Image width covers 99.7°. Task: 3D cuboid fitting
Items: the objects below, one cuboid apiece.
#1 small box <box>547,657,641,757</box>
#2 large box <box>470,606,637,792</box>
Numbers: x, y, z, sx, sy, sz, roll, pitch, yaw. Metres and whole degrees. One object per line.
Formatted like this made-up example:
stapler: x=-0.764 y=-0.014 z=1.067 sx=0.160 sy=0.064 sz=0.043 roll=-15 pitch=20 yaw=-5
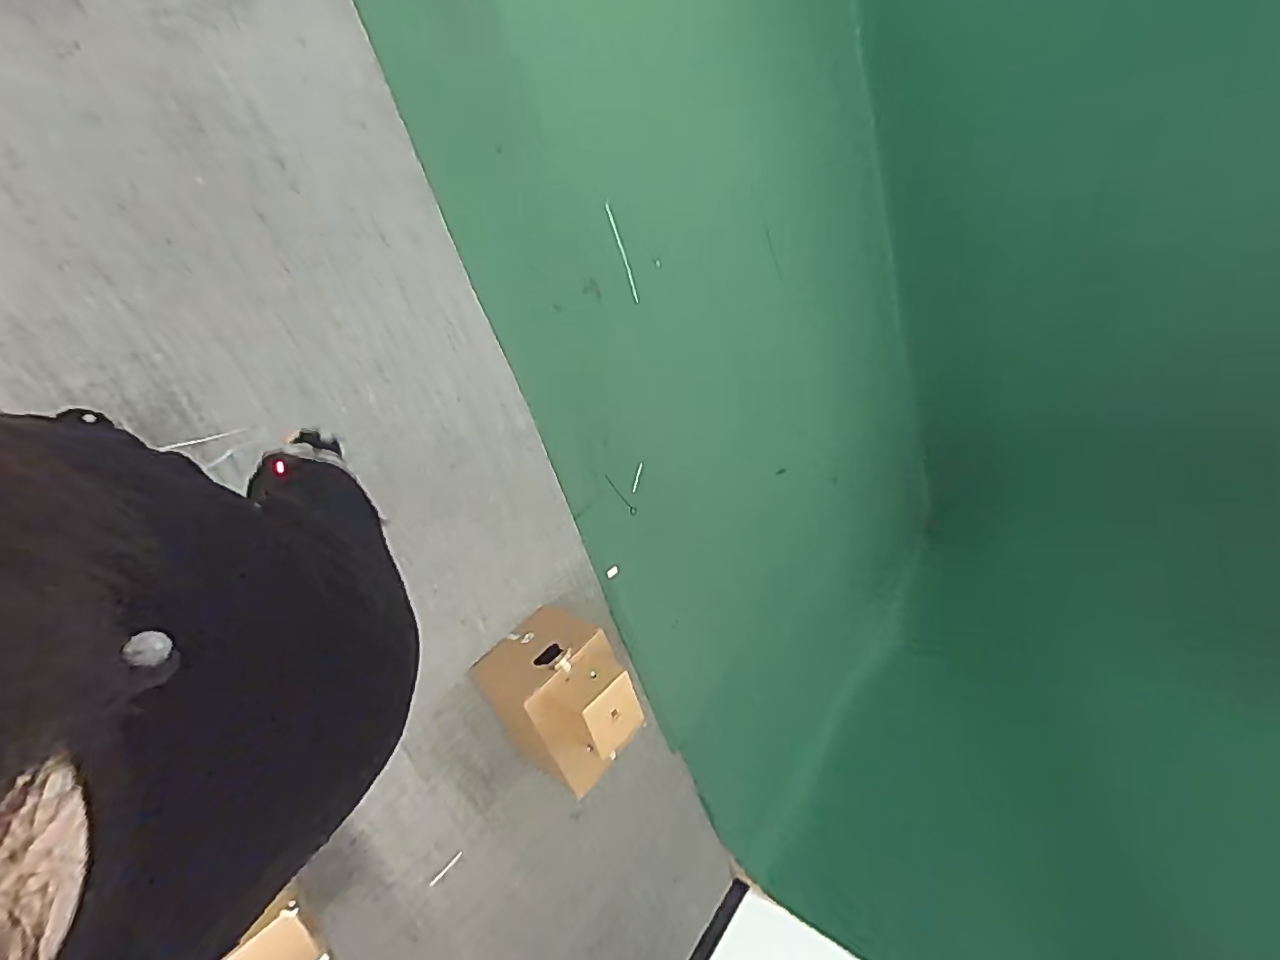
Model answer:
small box: x=-0.130 y=0.614 z=1.495 sx=0.168 sy=0.176 sz=0.179 roll=-34 pitch=116 yaw=-37
large box: x=-0.263 y=0.672 z=1.711 sx=0.320 sy=0.320 sz=0.408 roll=-38 pitch=118 yaw=-37
